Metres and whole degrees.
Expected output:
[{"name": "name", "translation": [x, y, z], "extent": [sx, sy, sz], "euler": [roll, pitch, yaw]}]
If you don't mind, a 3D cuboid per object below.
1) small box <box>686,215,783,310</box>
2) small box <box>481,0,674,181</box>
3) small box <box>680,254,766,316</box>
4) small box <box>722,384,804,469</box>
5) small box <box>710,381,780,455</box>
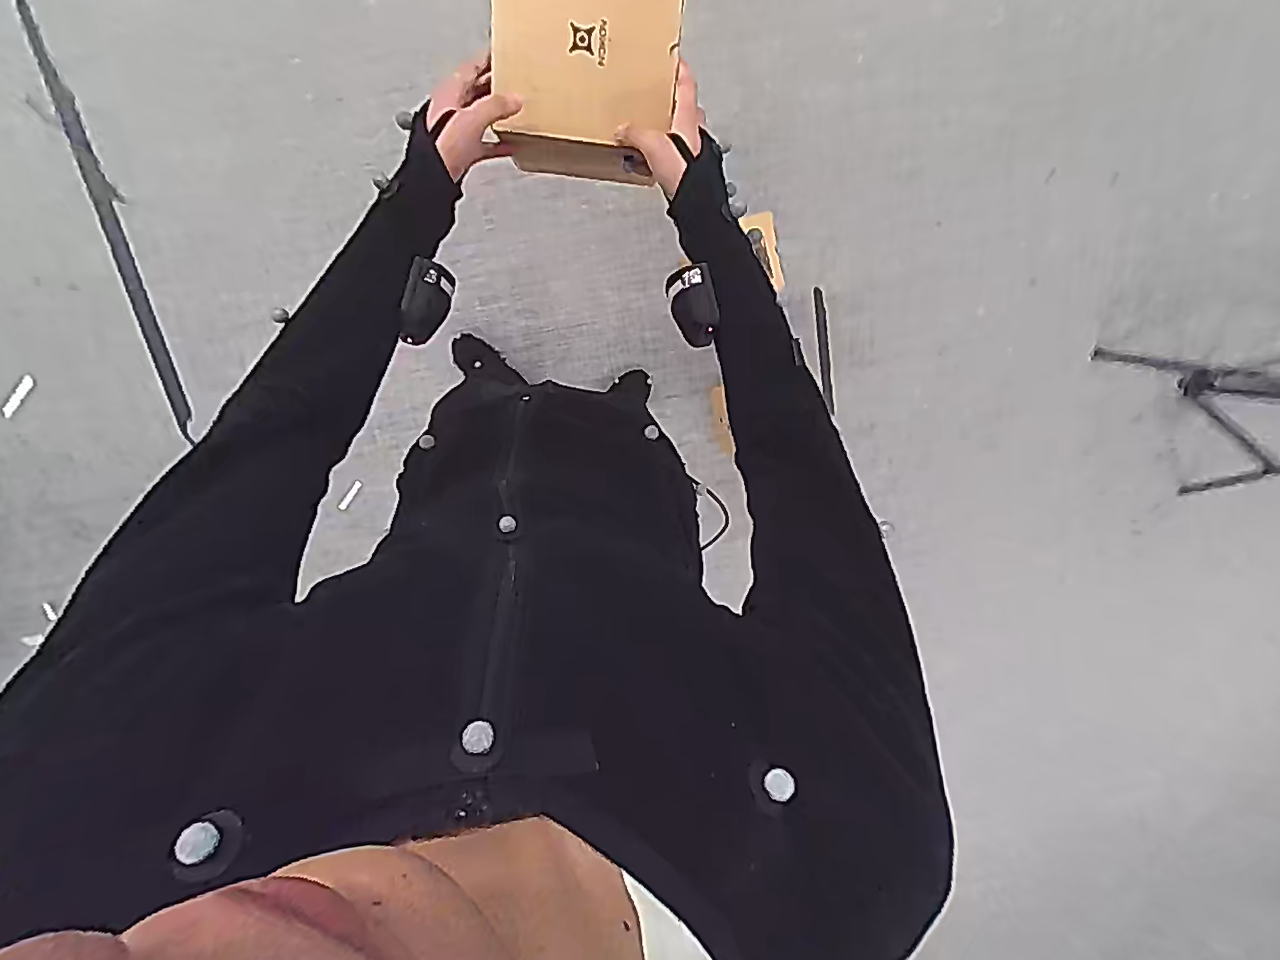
[{"name": "small box", "translation": [0.218, -0.505, 1.274], "extent": [0.179, 0.176, 0.168], "euler": [-13, 104, 1]}, {"name": "small box", "translation": [-0.064, -0.429, 0.572], "extent": [0.179, 0.176, 0.168], "euler": [2, 108, -7]}, {"name": "small box", "translation": [0.215, -0.541, 1.434], "extent": [0.179, 0.176, 0.168], "euler": [-15, 105, 1]}, {"name": "small box", "translation": [0.309, -0.140, 1.376], "extent": [0.168, 0.176, 0.179], "euler": [-7, 106, -2]}, {"name": "small box", "translation": [0.299, -0.182, 1.535], "extent": [0.168, 0.176, 0.179], "euler": [-8, 106, 0]}]
